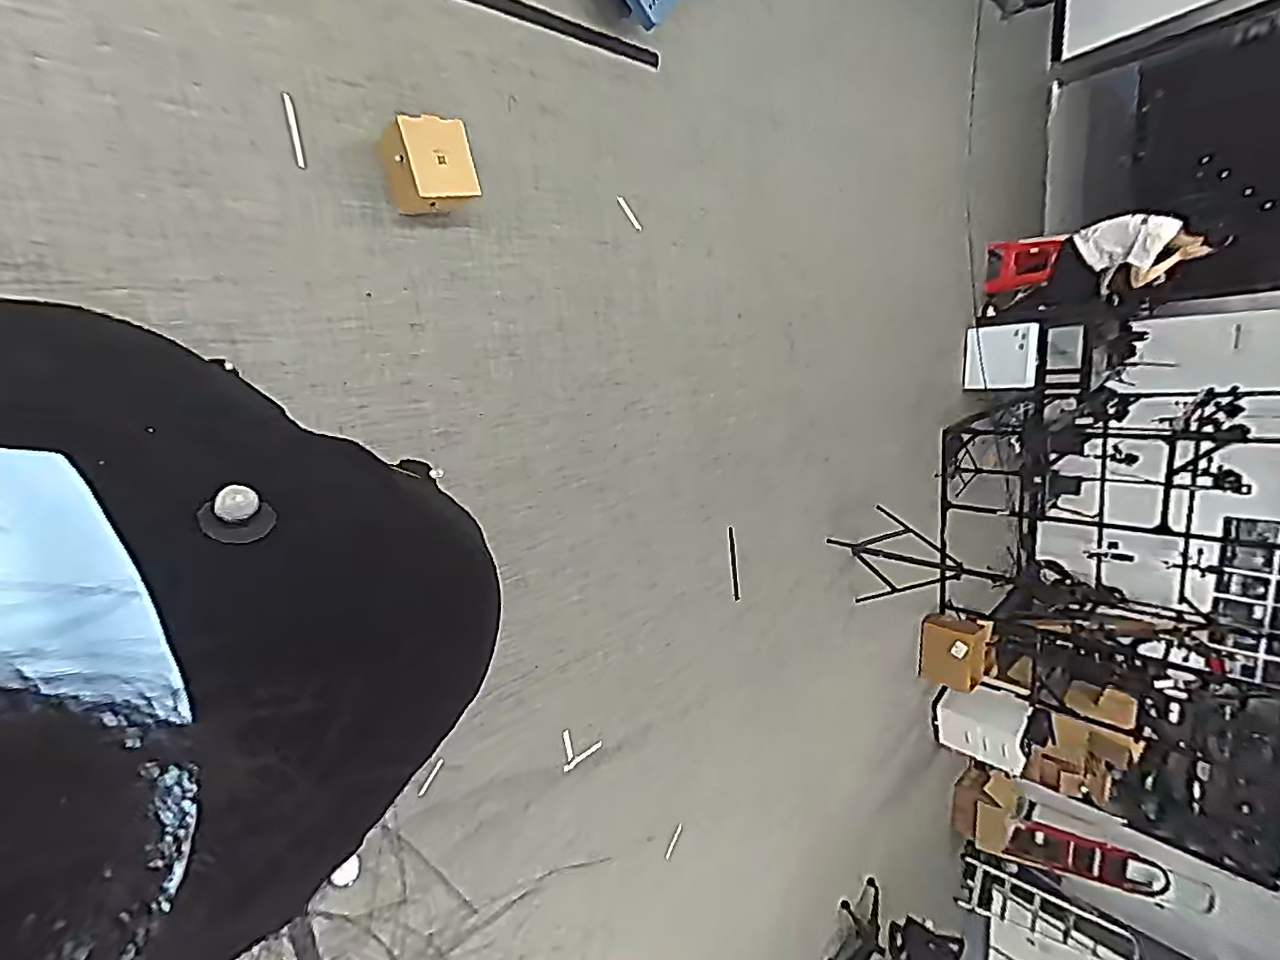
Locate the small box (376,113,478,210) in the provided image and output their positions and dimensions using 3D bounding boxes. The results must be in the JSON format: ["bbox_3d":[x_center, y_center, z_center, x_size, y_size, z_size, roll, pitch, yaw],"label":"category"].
[{"bbox_3d":[-0.538,-0.795,1.367,0.168,0.176,0.179,-25,112,-37],"label":"small box"}]
